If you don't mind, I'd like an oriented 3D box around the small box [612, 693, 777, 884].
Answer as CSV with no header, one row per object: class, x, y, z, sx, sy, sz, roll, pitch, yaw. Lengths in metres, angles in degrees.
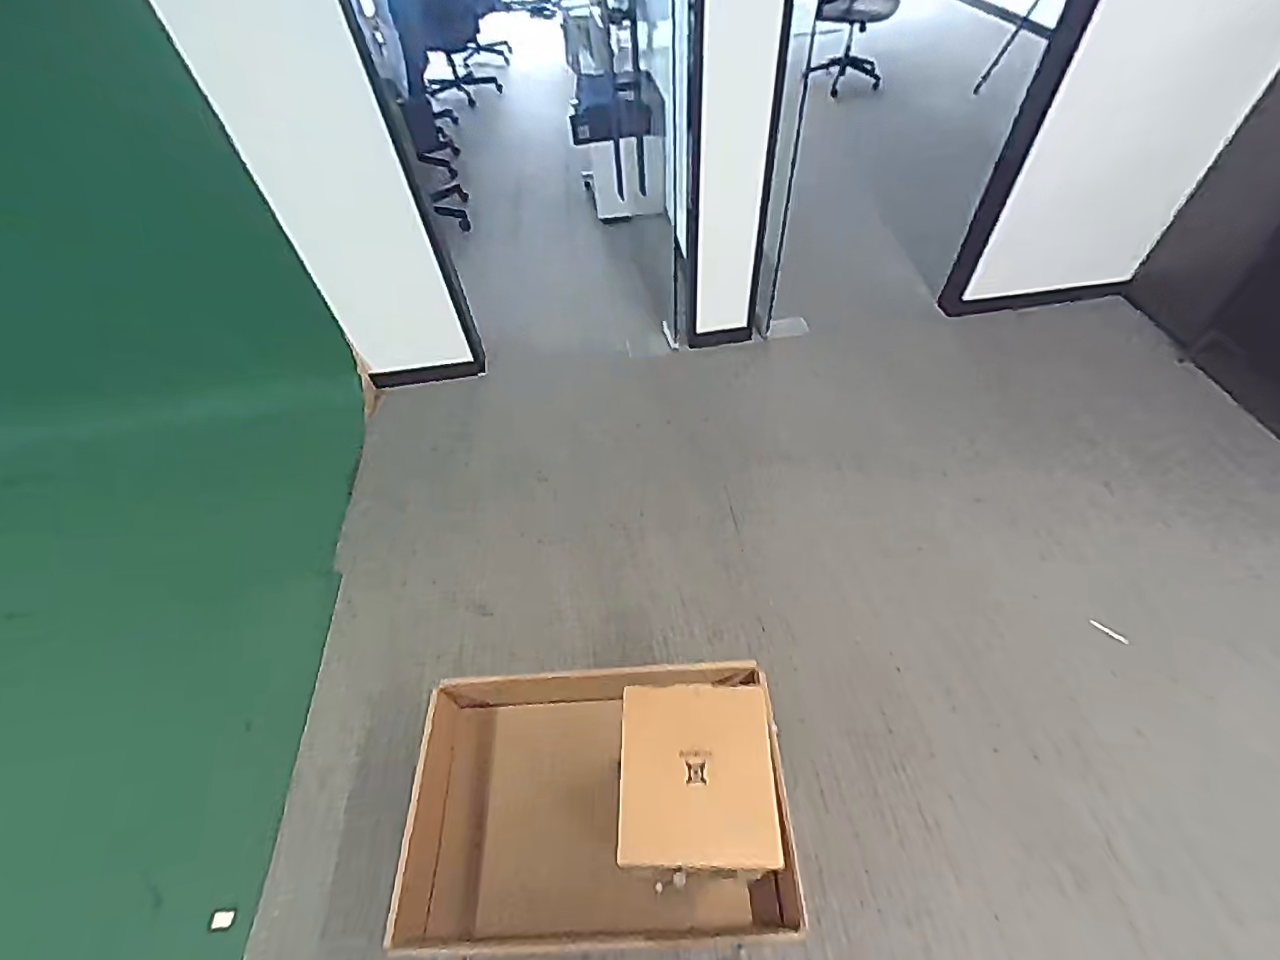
small box,0.063,0.368,0.642,0.168,0.176,0.179,-2,51,4
